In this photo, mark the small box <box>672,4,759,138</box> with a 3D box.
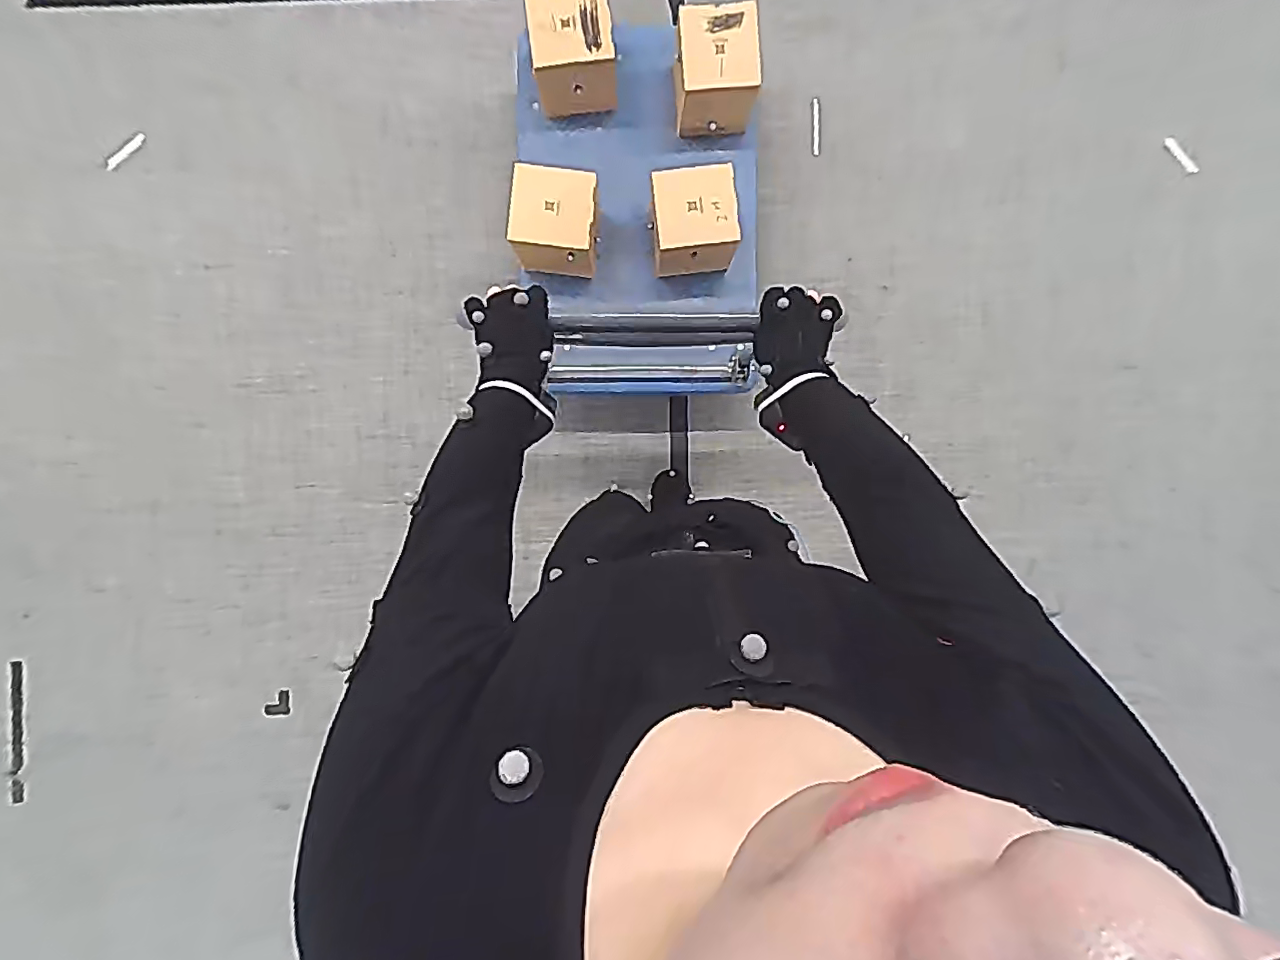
[{"bbox_3d":[0.162,-0.906,1.210,0.168,0.176,0.179,-4,92,0],"label":"small box"}]

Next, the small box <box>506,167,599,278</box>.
[{"bbox_3d":[-0.190,-0.569,1.215,0.179,0.176,0.168,6,91,-2],"label":"small box"}]

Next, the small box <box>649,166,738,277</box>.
[{"bbox_3d":[0.114,-0.572,1.217,0.179,0.176,0.168,-7,92,0],"label":"small box"}]
